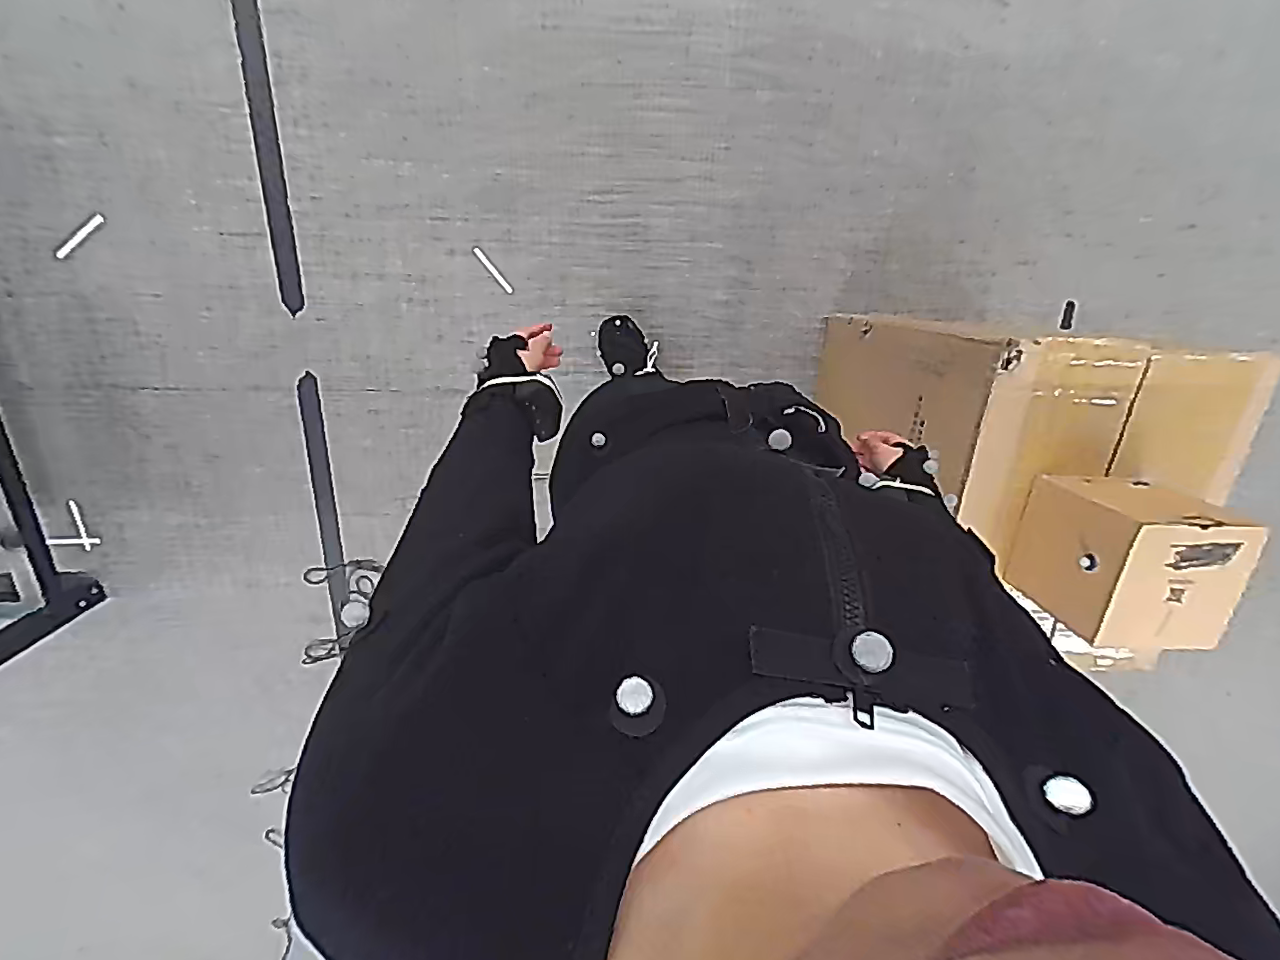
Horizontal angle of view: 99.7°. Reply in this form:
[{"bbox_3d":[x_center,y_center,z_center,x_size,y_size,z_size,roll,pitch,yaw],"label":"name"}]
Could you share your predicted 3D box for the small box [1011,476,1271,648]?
[{"bbox_3d":[0.646,0.101,0.726,0.168,0.176,0.179,2,110,-3],"label":"small box"}]
